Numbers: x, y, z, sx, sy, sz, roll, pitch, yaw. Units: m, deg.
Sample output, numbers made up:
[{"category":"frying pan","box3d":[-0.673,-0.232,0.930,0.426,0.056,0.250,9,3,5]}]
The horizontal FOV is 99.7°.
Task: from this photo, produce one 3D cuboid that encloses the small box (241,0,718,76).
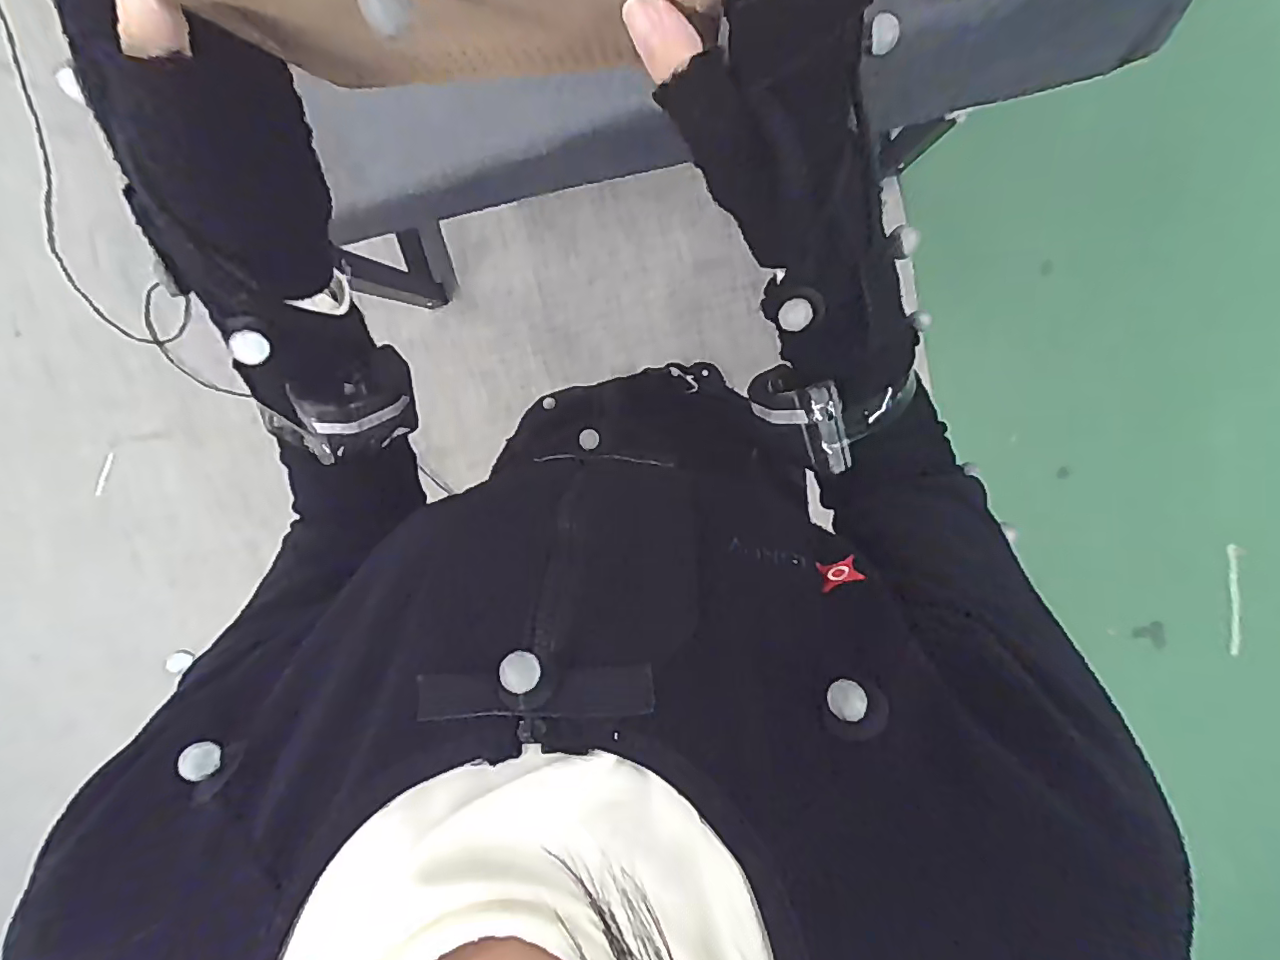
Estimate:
[{"category":"small box","box3d":[-0.063,-0.236,0.147,0.179,0.176,0.168,0,112,5]}]
